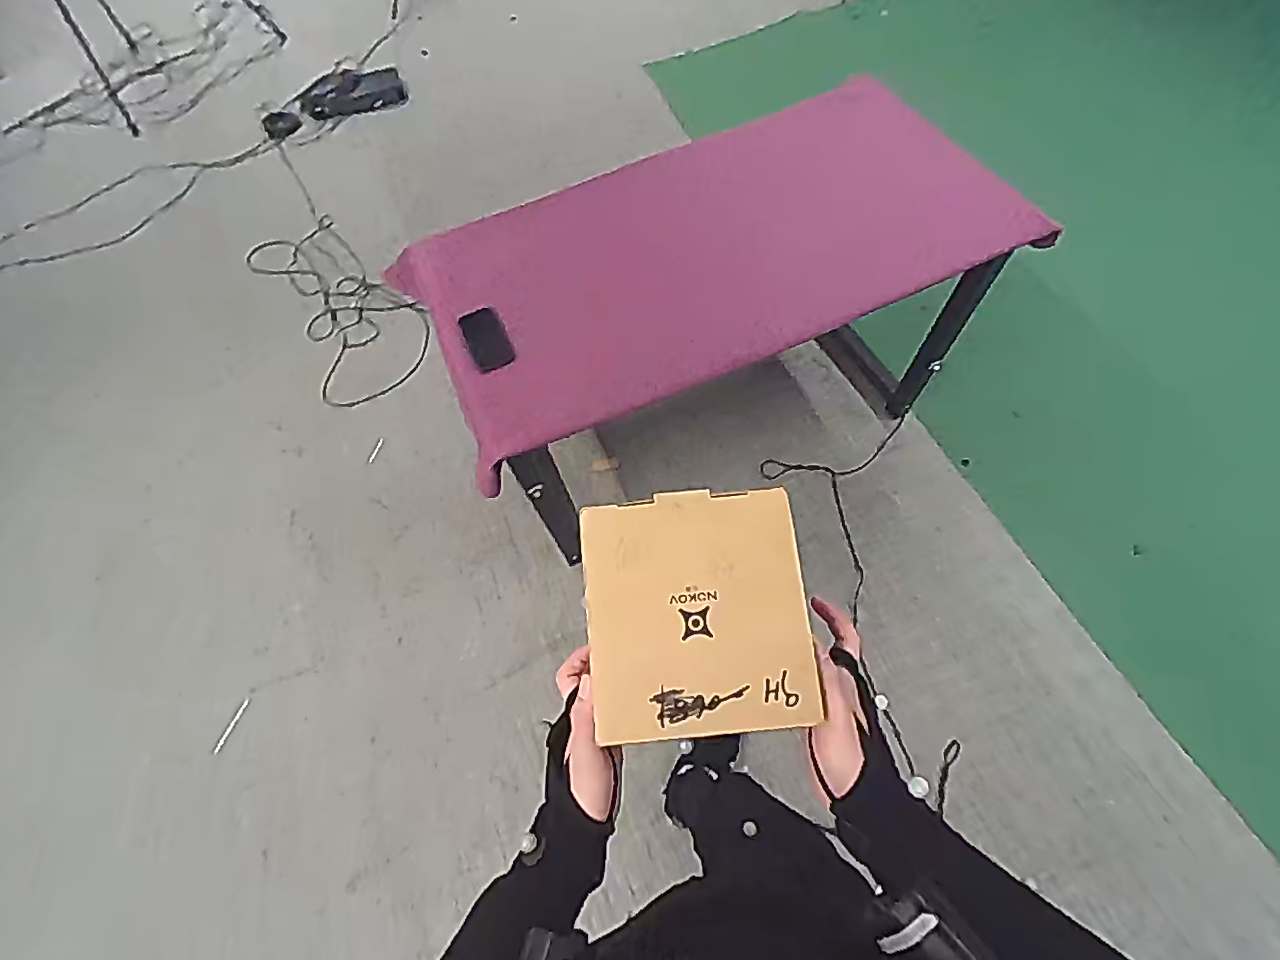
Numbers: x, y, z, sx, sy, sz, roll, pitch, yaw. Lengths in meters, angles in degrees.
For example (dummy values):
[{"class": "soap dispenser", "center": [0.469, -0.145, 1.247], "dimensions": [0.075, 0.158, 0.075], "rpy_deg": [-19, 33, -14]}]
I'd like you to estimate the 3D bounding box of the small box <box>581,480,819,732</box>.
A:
[{"class": "small box", "center": [0.043, 0.110, 0.482], "dimensions": [0.168, 0.176, 0.179], "rpy_deg": [-6, 76, 2]}]
